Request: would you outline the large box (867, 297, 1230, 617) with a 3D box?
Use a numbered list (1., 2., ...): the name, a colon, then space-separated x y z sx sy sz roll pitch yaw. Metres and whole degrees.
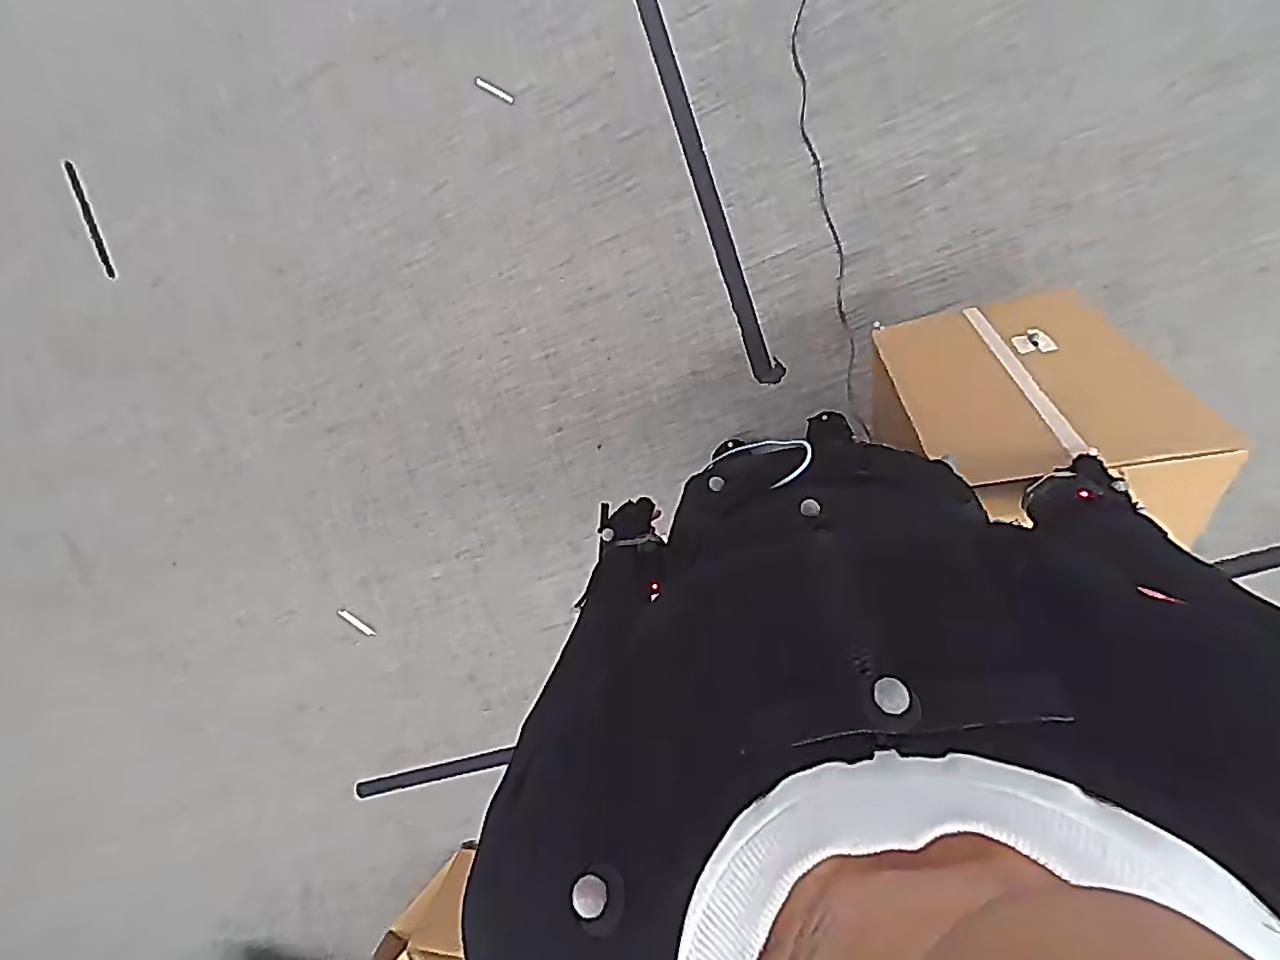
1. large box: 0.588 -0.039 0.891 0.320 0.408 0.320 -9 132 13
